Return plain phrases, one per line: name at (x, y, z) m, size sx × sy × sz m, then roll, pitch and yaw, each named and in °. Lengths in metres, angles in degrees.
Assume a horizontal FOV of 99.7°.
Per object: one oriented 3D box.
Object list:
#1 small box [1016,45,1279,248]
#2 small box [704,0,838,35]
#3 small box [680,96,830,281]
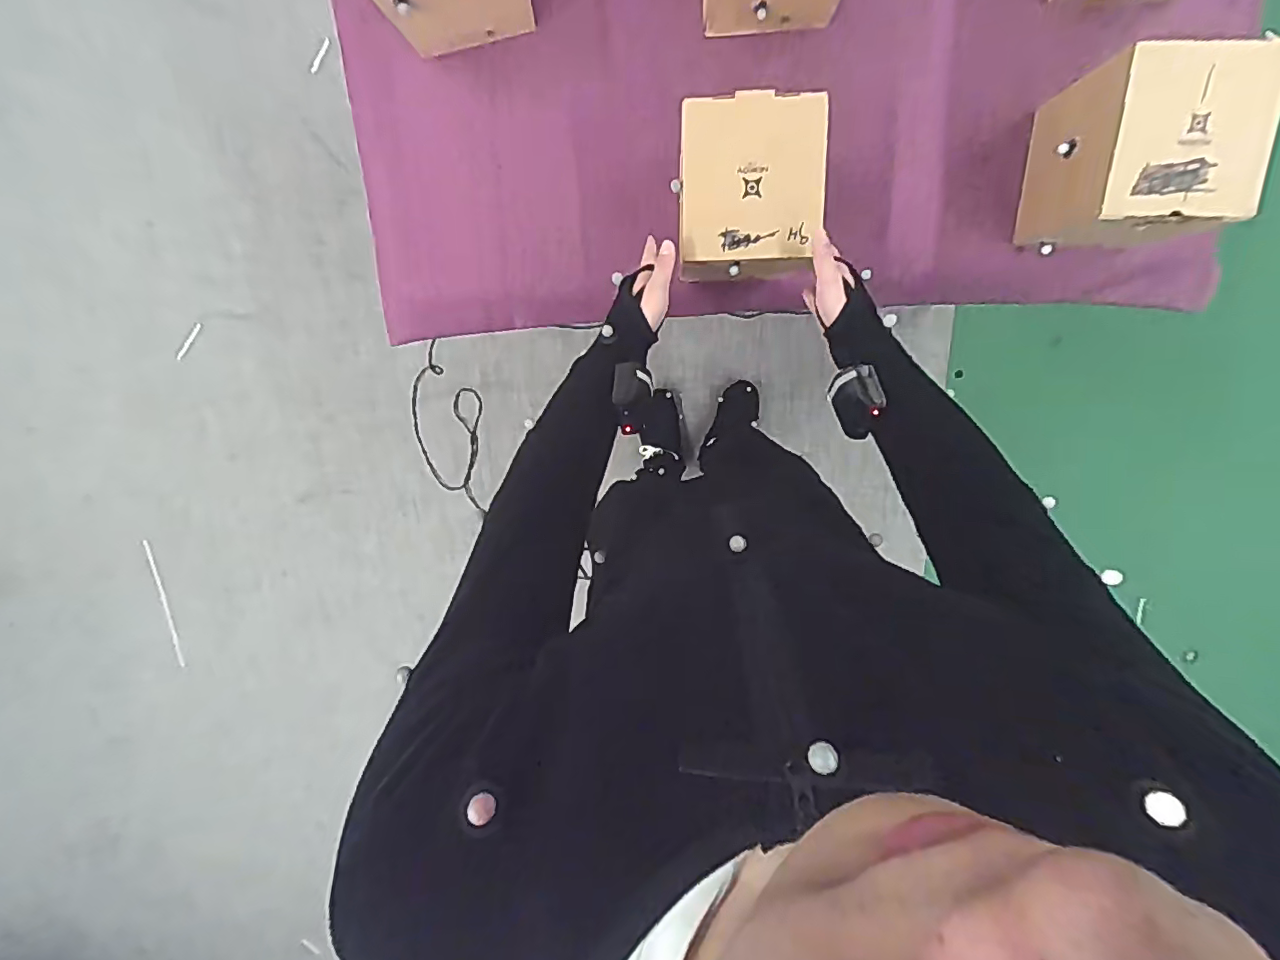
small box at (0.606, -0.394, 0.669) m, size 0.168 × 0.176 × 0.179 m, roll 3°, pitch 102°, yaw 3°
small box at (0.162, -0.666, 0.627) m, size 0.168 × 0.176 × 0.179 m, roll -2°, pitch 105°, yaw 3°
small box at (0.137, -0.363, 0.704) m, size 0.168 × 0.176 × 0.179 m, roll 0°, pitch 104°, yaw 4°
